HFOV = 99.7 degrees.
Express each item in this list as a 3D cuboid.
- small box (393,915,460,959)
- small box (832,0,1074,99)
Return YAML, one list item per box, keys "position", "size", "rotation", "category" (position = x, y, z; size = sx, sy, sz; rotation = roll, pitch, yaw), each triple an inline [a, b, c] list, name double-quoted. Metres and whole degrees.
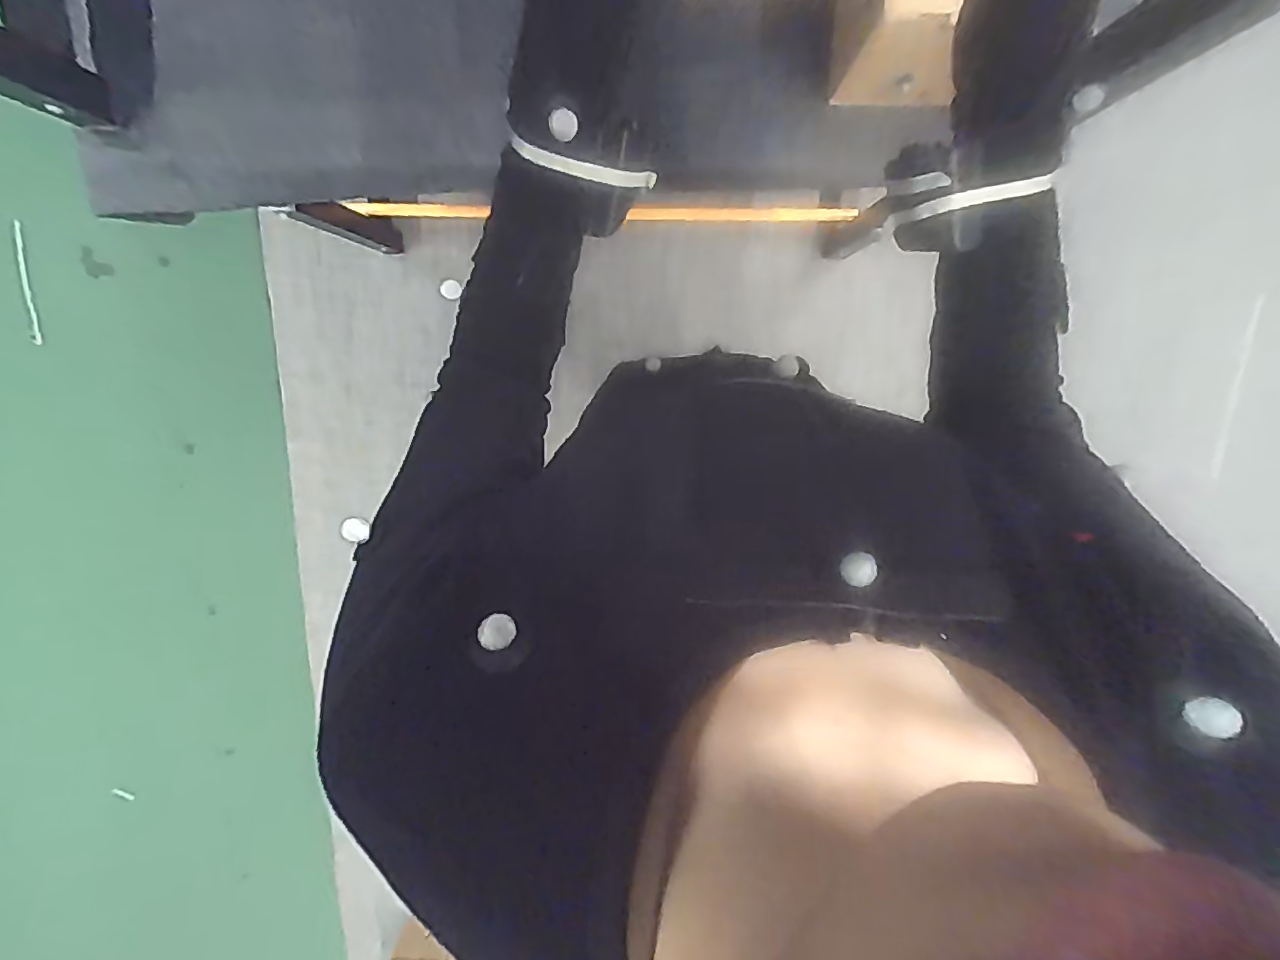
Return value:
- position: [-0.704, 1.584, 1.780]
  size: [0.168, 0.176, 0.179]
  rotation: [3, 102, 3]
  category: "small box"
- position: [0.298, -0.511, 0.529]
  size: [0.168, 0.176, 0.179]
  rotation: [2, 103, 3]
  category: "small box"
